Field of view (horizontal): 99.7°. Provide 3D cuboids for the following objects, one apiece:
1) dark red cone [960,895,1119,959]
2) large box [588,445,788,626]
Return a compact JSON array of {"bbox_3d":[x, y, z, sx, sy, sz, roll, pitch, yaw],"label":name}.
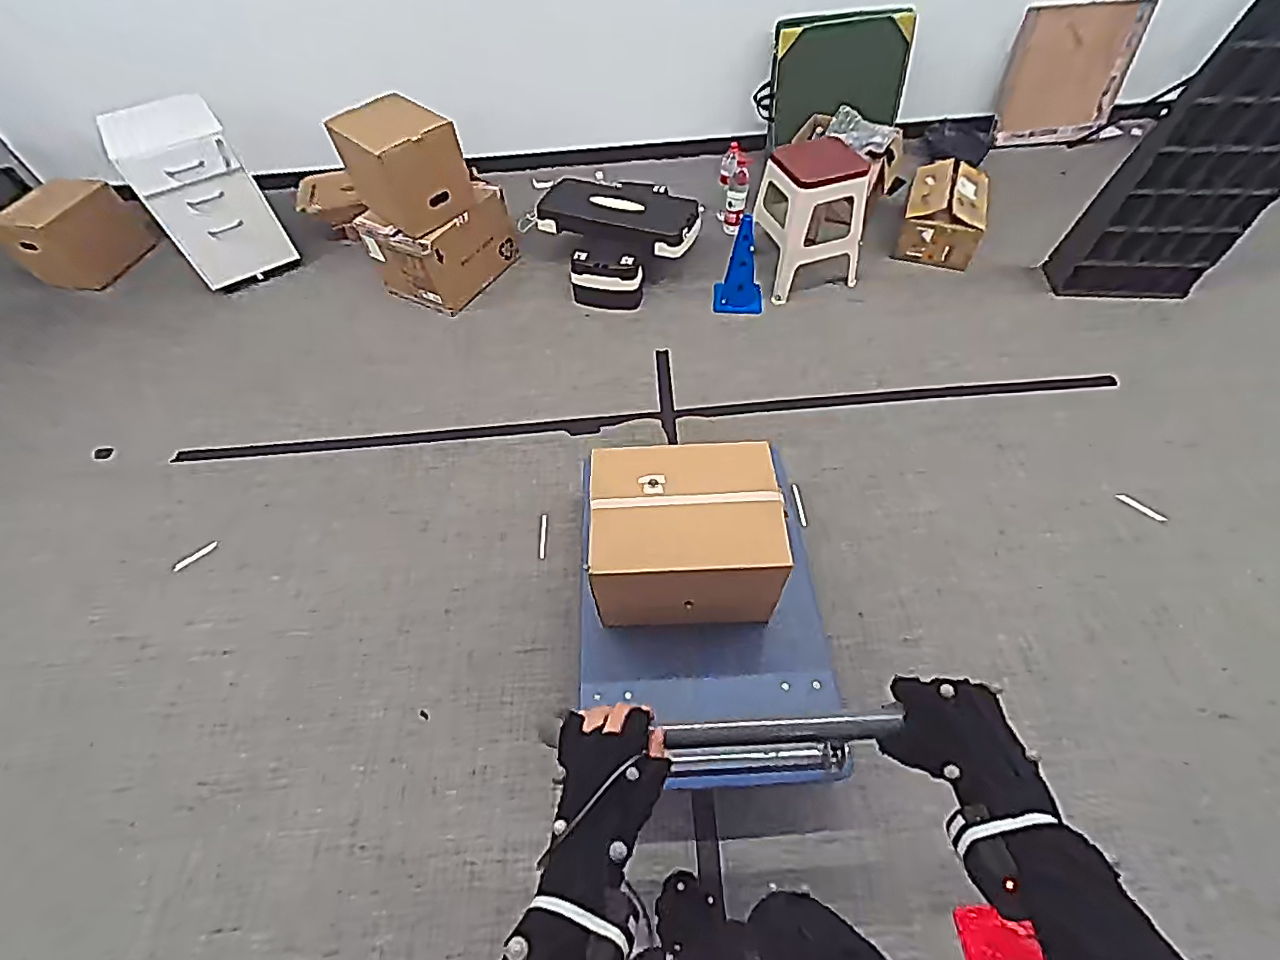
[{"bbox_3d":[0.738,0.831,0.900,0.201,0.394,0.202,-3,55,-1],"label":"dark red cone"},{"bbox_3d":[0.098,0.140,1.269,0.408,0.320,0.320,-3,56,2],"label":"large box"}]
